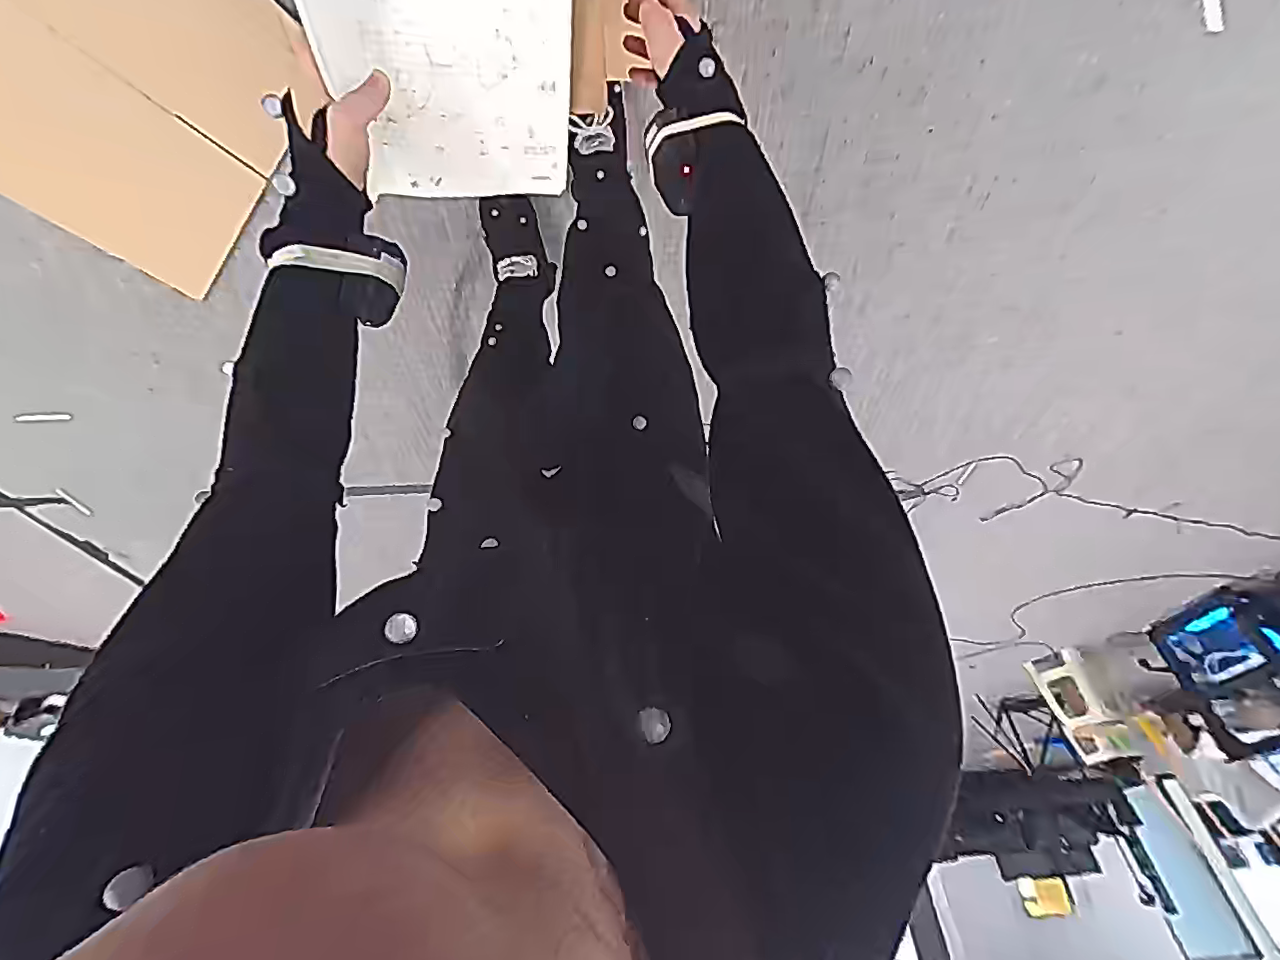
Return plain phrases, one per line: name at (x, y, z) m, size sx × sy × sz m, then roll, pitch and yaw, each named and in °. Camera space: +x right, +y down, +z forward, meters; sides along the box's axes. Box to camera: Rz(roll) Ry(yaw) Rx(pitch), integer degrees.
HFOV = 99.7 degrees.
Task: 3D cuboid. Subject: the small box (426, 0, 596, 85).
small box at (-0.135, -0.552, 0.571) m, size 0.168 × 0.176 × 0.179 m, roll -5°, pitch 141°, yaw 0°
